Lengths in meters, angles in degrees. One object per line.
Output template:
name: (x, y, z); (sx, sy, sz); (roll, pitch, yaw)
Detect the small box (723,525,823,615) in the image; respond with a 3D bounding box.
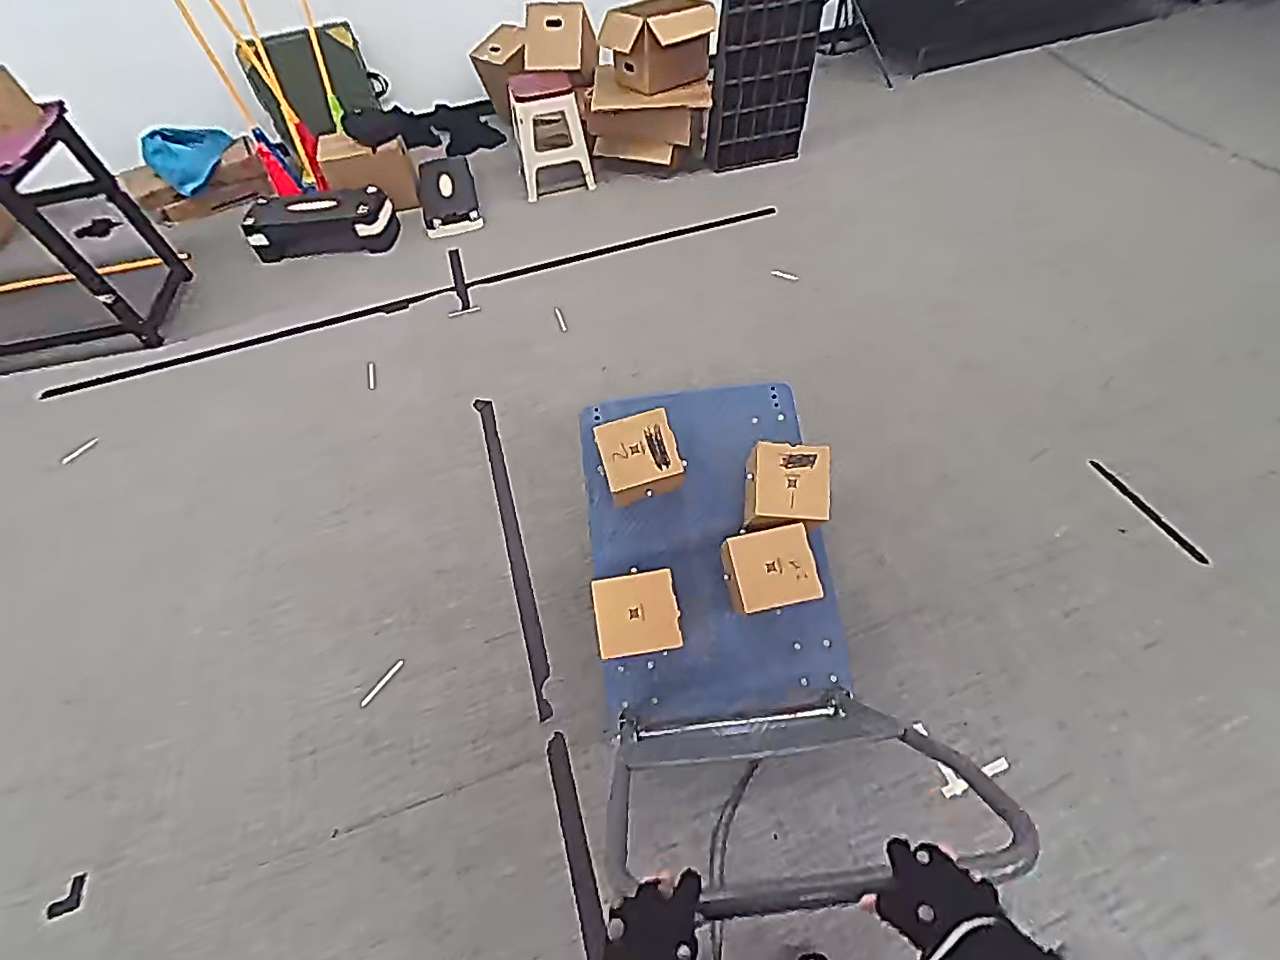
small box: (0.293, 0.213, 1.239); (0.179, 0.176, 0.168); (-12, 75, -1)

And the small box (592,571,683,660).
small box: (-0.005, 0.309, 1.224); (0.179, 0.176, 0.168); (-10, 75, -2)

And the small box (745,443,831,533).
small box: (0.346, 0.024, 1.287); (0.168, 0.176, 0.179); (4, 76, 3)
